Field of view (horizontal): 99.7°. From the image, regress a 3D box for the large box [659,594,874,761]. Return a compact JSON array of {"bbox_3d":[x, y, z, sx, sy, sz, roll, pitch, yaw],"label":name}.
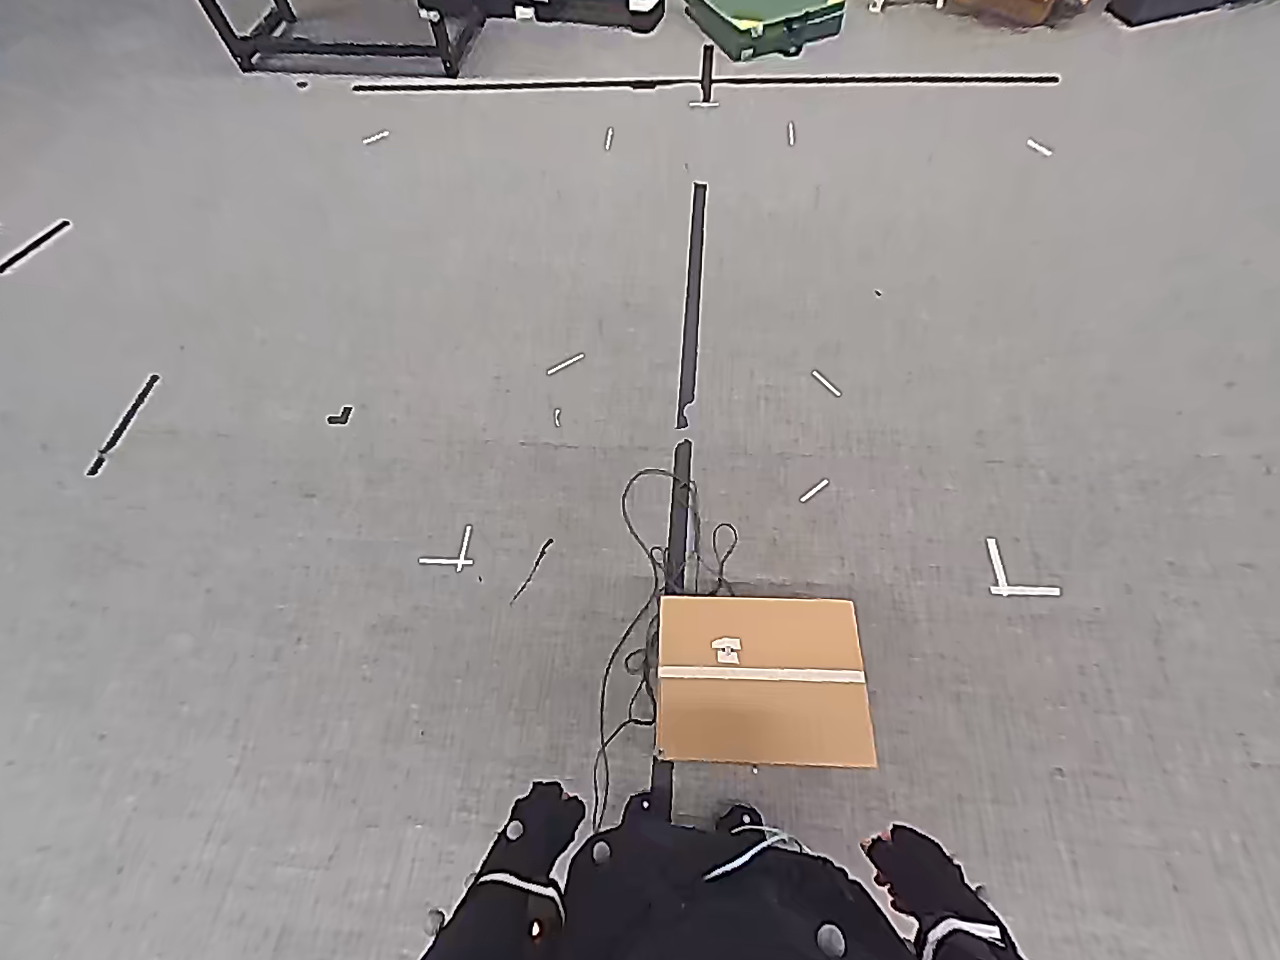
[{"bbox_3d":[0.251,0.448,1.208,0.408,0.320,0.320,1,61,4],"label":"large box"}]
